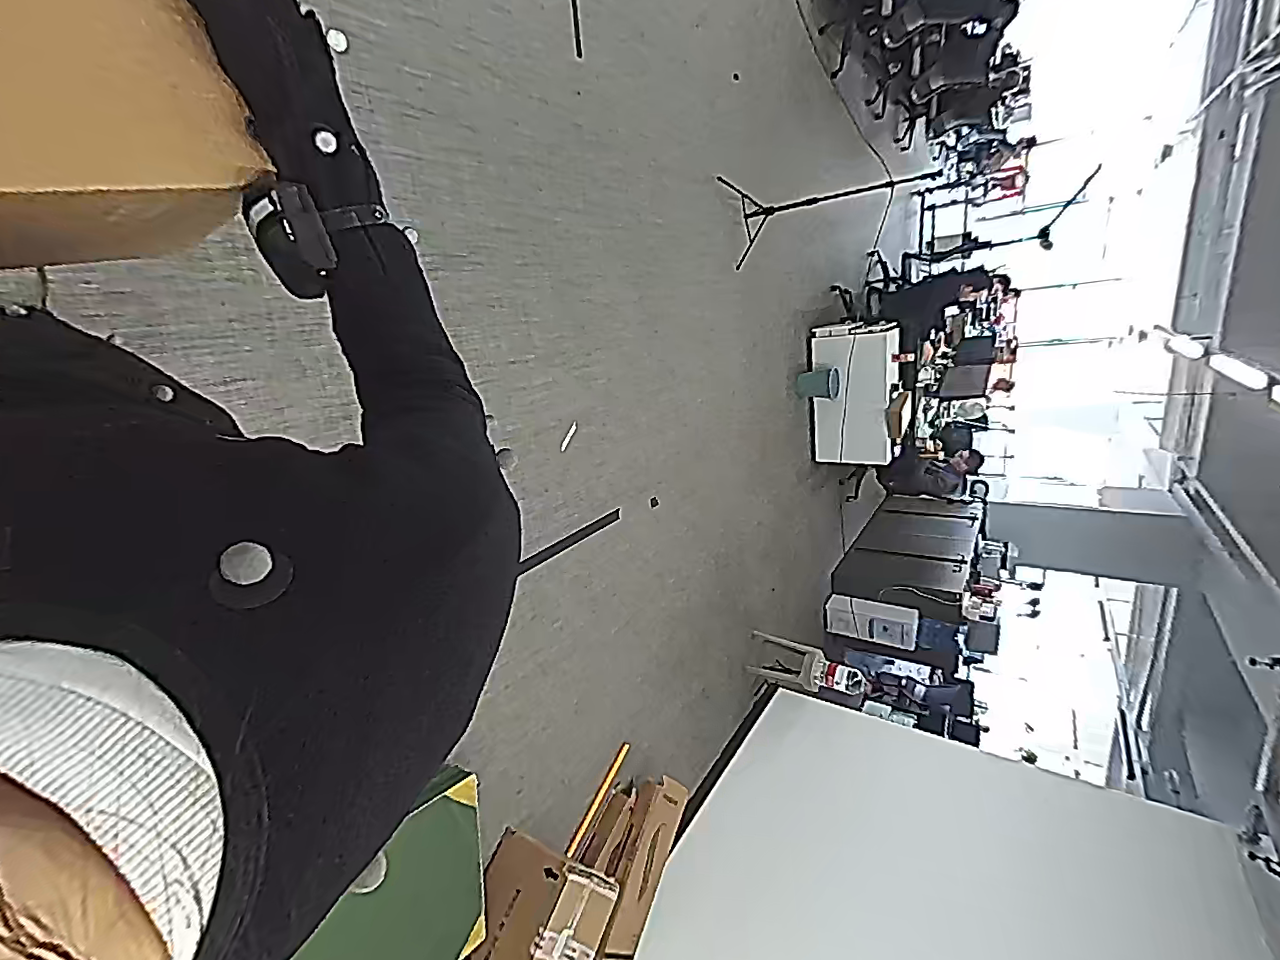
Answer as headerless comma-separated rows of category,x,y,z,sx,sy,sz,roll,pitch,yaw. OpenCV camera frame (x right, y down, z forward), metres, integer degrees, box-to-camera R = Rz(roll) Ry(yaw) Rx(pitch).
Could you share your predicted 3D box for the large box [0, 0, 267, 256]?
large box,-0.523,-0.292,0.286,0.408,0.320,0.320,-32,122,-42
